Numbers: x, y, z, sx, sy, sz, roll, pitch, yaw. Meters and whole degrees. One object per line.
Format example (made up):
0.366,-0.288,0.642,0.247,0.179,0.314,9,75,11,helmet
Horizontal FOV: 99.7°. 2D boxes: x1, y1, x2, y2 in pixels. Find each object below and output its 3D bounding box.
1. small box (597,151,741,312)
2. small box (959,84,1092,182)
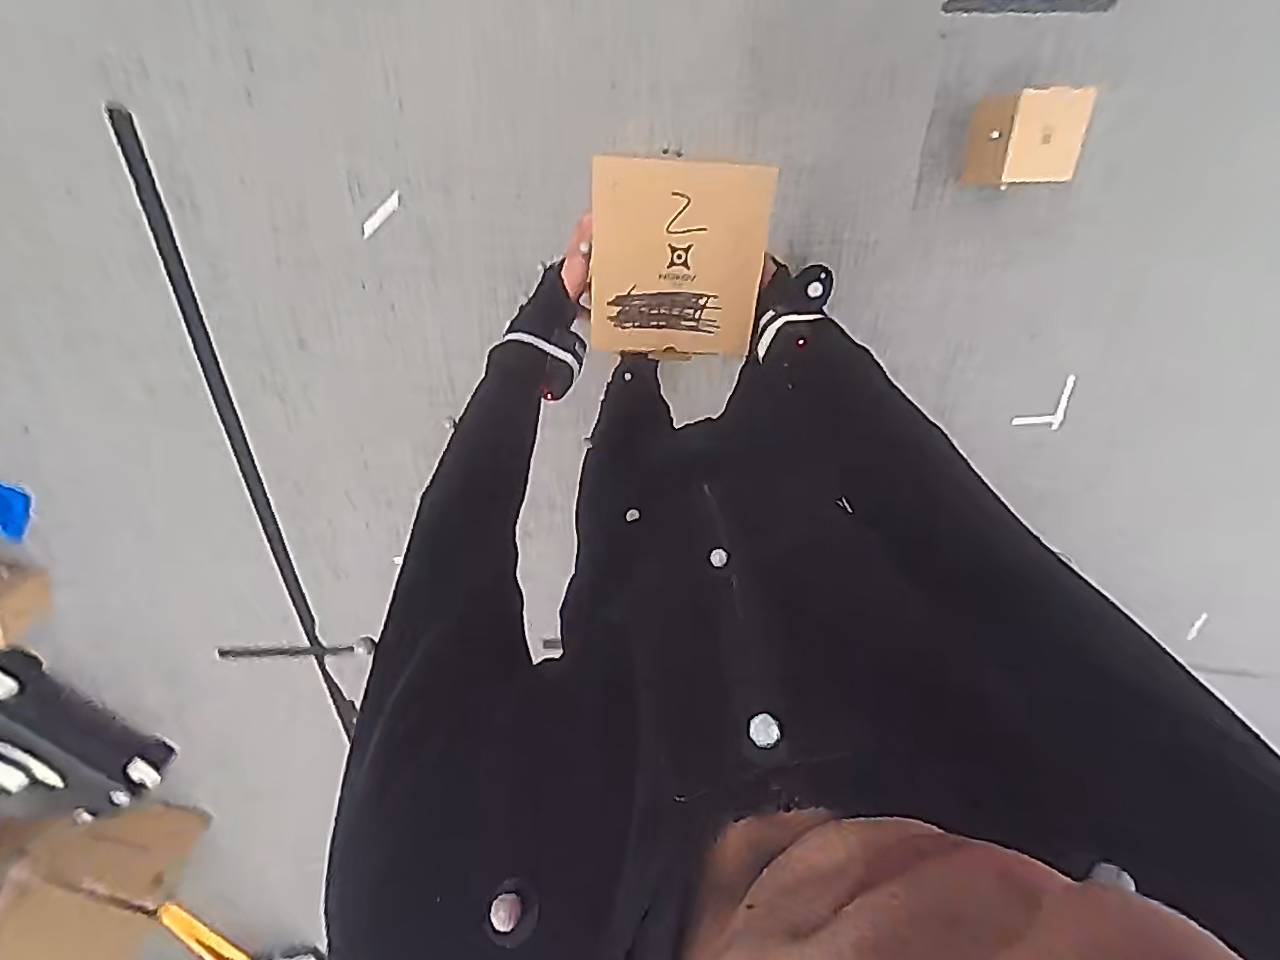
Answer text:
0.026,-0.333,0.717,0.168,0.176,0.179,-1,123,-3,small box
0.866,-0.784,1.238,0.168,0.176,0.179,-3,117,-1,small box
